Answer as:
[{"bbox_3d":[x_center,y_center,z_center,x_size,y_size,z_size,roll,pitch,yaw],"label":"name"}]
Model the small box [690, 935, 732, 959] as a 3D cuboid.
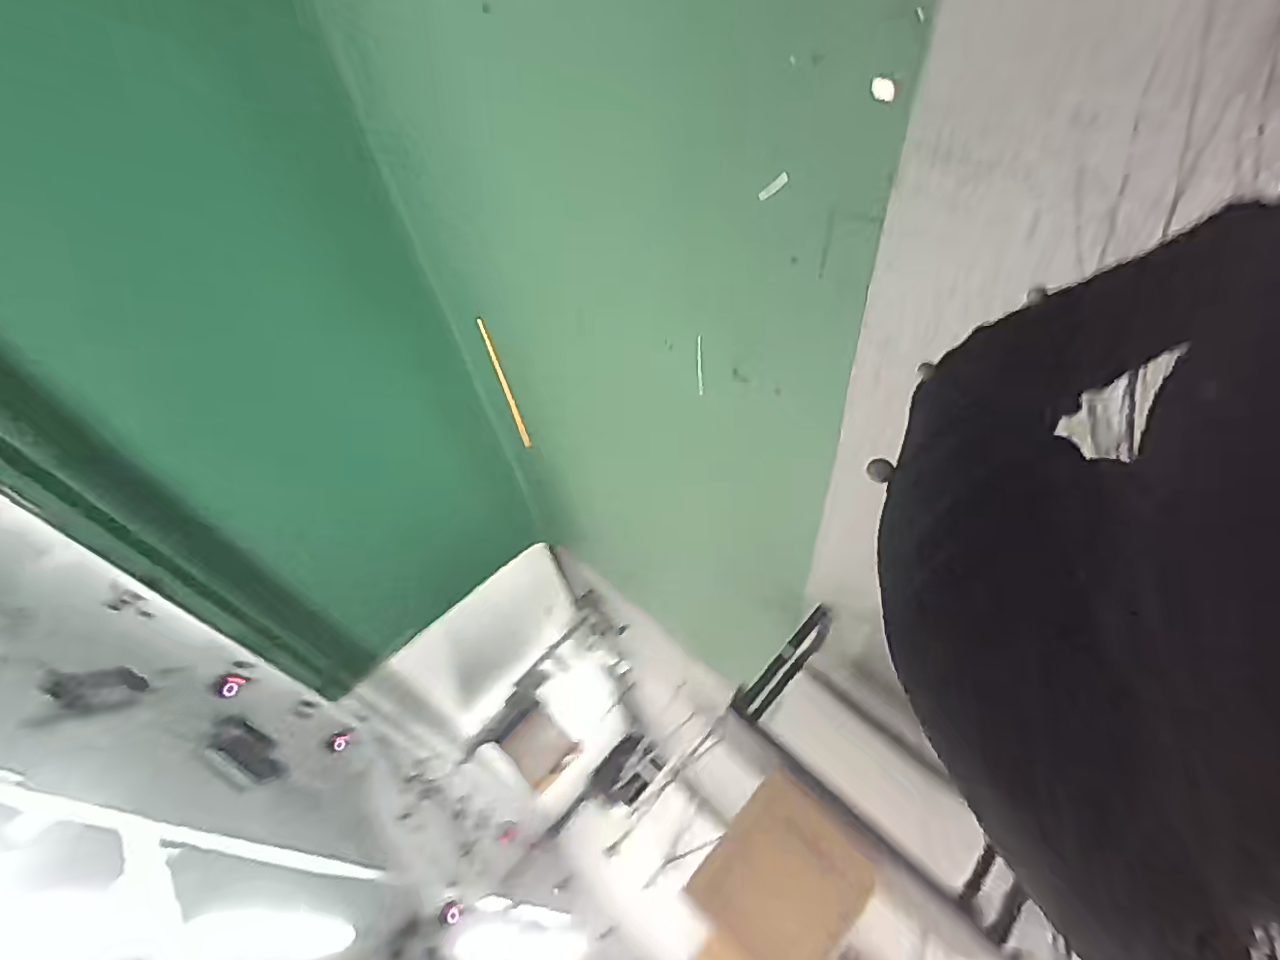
[{"bbox_3d":[0.270,1.833,1.999,0.168,0.176,0.179,40,152,24],"label":"small box"}]
